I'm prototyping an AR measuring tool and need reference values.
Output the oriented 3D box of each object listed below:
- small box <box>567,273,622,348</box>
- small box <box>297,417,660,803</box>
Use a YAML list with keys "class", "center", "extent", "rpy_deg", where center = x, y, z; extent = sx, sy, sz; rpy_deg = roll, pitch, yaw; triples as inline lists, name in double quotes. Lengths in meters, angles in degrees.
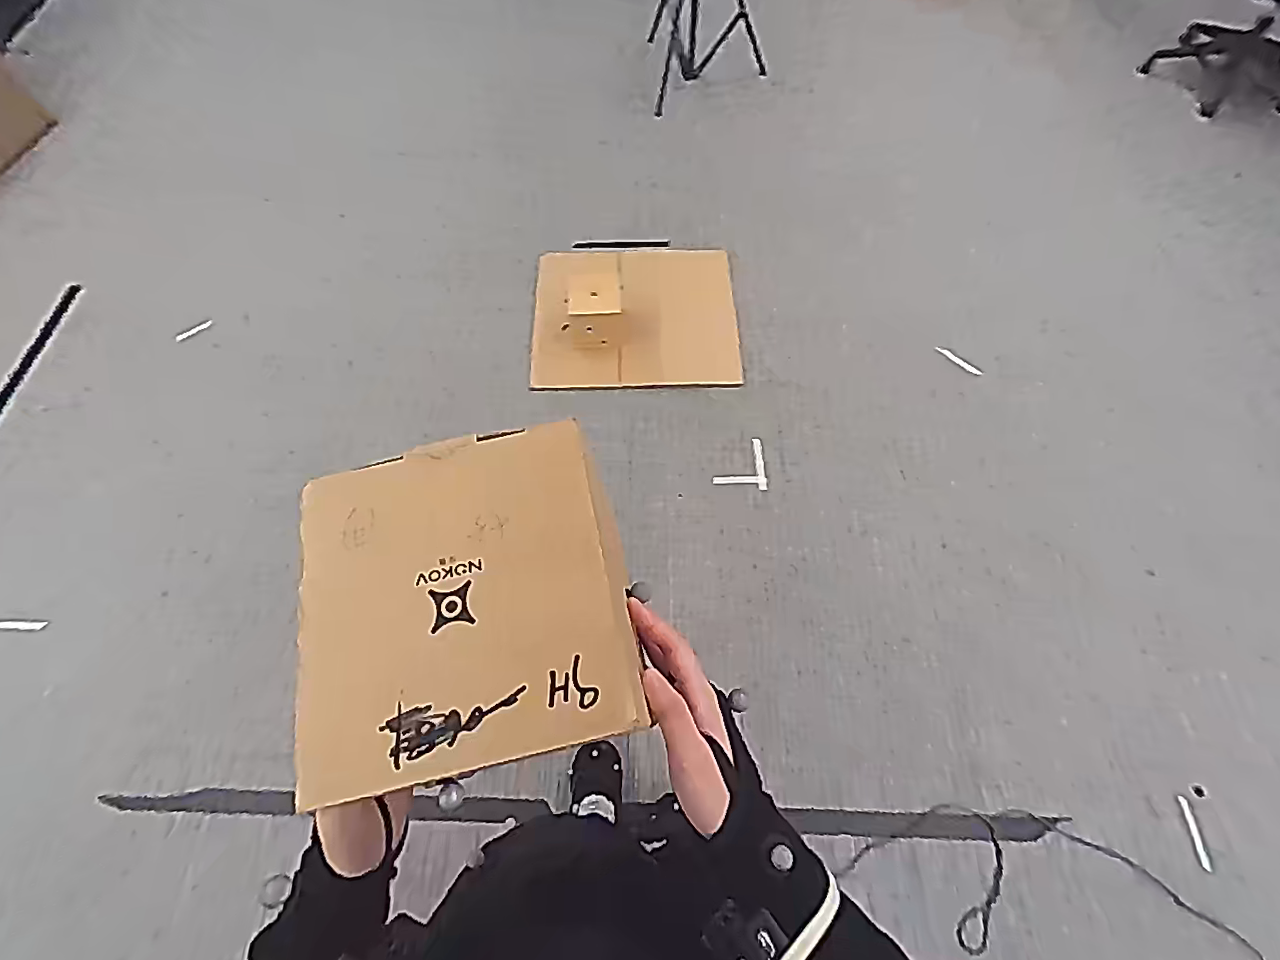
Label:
- class: "small box"
  center: [-0.147, -0.548, 1.771]
  extent: [0.168, 0.176, 0.179]
  rpy_deg: [-3, 64, -1]
- class: "small box"
  center: [-0.087, 0.089, 0.356]
  extent: [0.168, 0.176, 0.179]
  rpy_deg: [-14, 66, 0]
